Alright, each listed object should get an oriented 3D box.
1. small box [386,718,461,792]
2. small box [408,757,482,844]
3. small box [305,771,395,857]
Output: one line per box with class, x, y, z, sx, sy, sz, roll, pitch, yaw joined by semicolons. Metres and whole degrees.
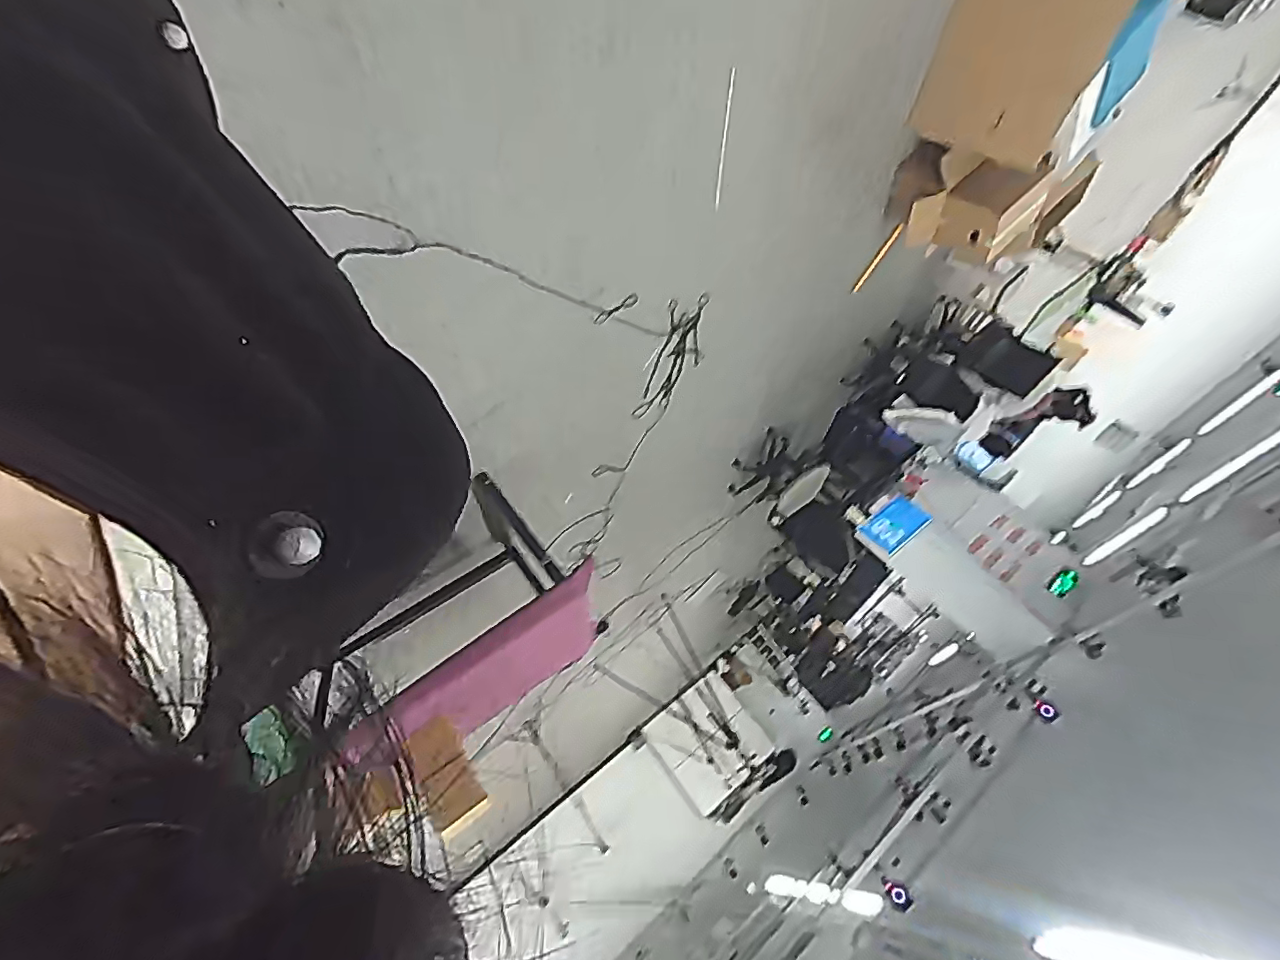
small box;-0.760;0.974;1.903;0.179;0.176;0.168;-29;150;-27
small box;-0.661;1.078;1.823;0.179;0.176;0.168;-29;151;-28
small box;-0.961;1.090;1.789;0.179;0.176;0.168;-41;155;-6
